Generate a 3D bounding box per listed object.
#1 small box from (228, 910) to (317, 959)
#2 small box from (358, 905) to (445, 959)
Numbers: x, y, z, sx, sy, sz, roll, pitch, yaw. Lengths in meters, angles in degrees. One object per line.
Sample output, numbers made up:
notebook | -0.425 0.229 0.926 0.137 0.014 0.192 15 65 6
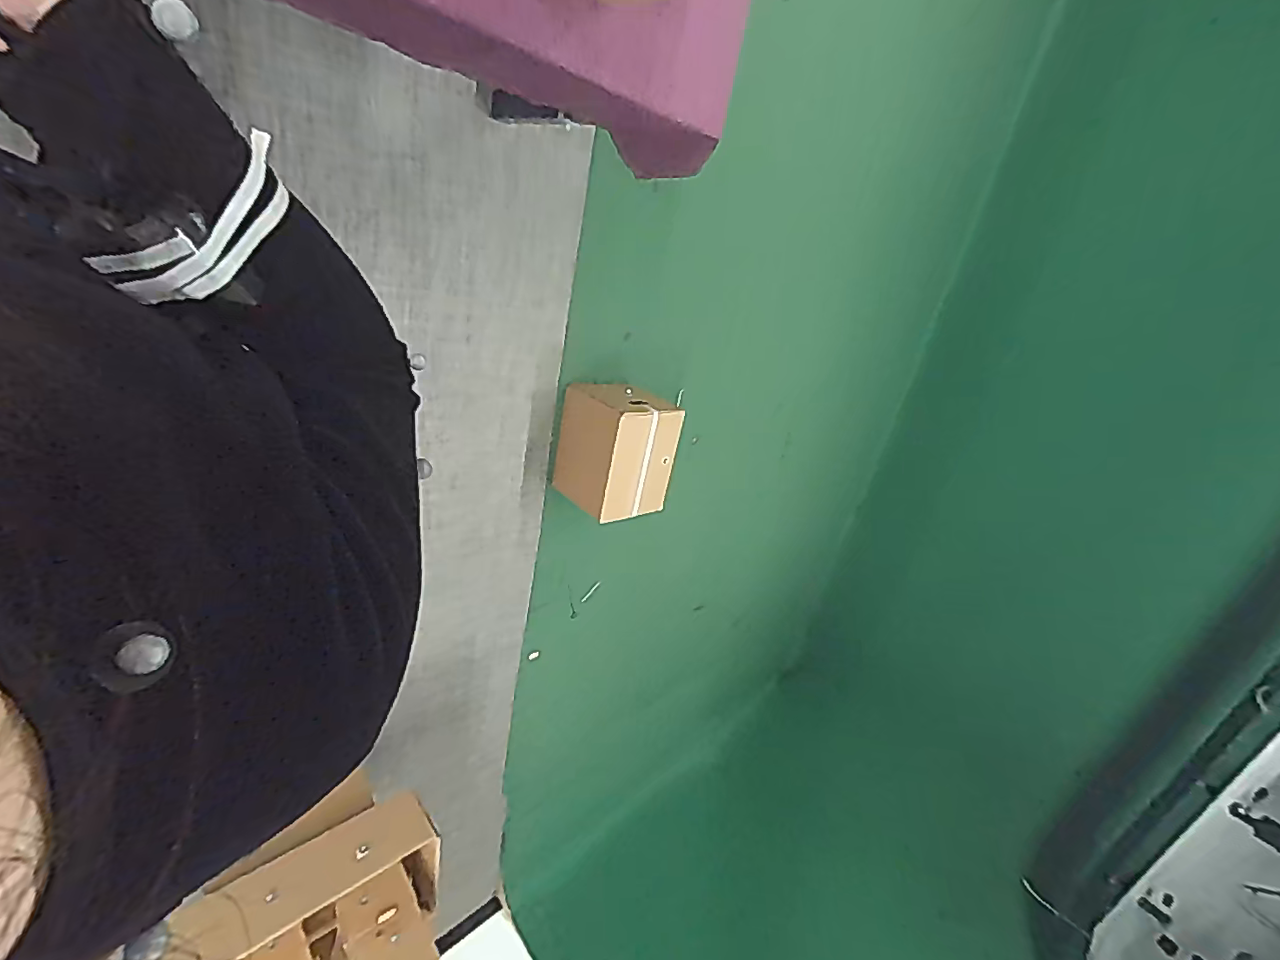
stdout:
small box | -0.925 1.259 1.374 0.168 0.176 0.179 -13 123 -42
small box | -0.637 1.294 1.437 0.168 0.176 0.179 -12 123 -42
